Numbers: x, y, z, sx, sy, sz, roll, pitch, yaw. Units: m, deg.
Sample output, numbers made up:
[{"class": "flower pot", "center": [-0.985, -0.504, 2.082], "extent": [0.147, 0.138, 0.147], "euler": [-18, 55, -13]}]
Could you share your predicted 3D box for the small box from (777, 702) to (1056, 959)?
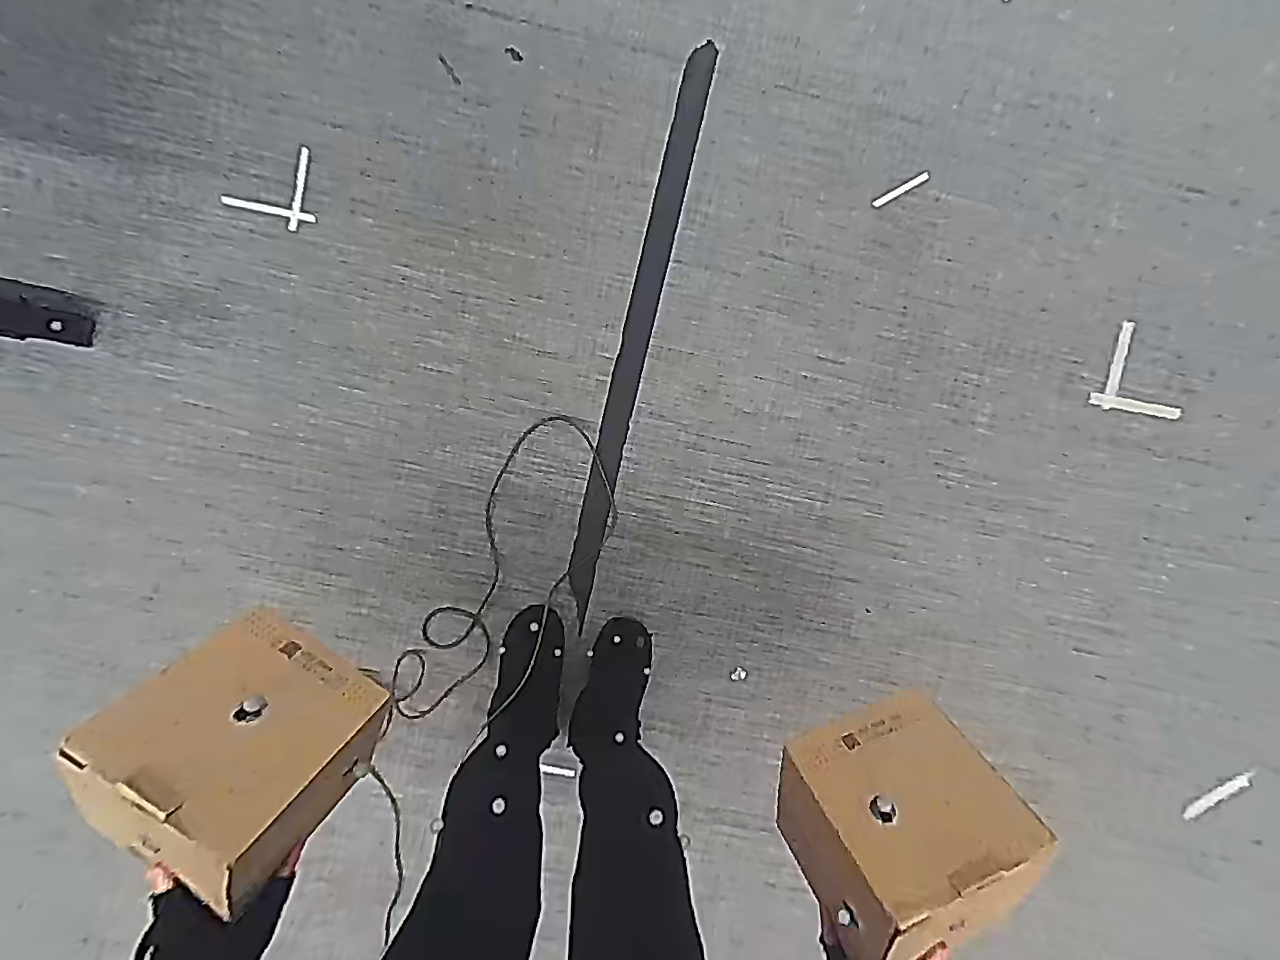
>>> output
[{"class": "small box", "center": [0.253, 0.350, 0.544], "extent": [0.168, 0.176, 0.179], "euler": [-14, 125, -13]}]

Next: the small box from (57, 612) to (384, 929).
[{"class": "small box", "center": [-0.374, 0.260, 0.509], "extent": [0.168, 0.176, 0.179], "euler": [33, 122, 4]}]
